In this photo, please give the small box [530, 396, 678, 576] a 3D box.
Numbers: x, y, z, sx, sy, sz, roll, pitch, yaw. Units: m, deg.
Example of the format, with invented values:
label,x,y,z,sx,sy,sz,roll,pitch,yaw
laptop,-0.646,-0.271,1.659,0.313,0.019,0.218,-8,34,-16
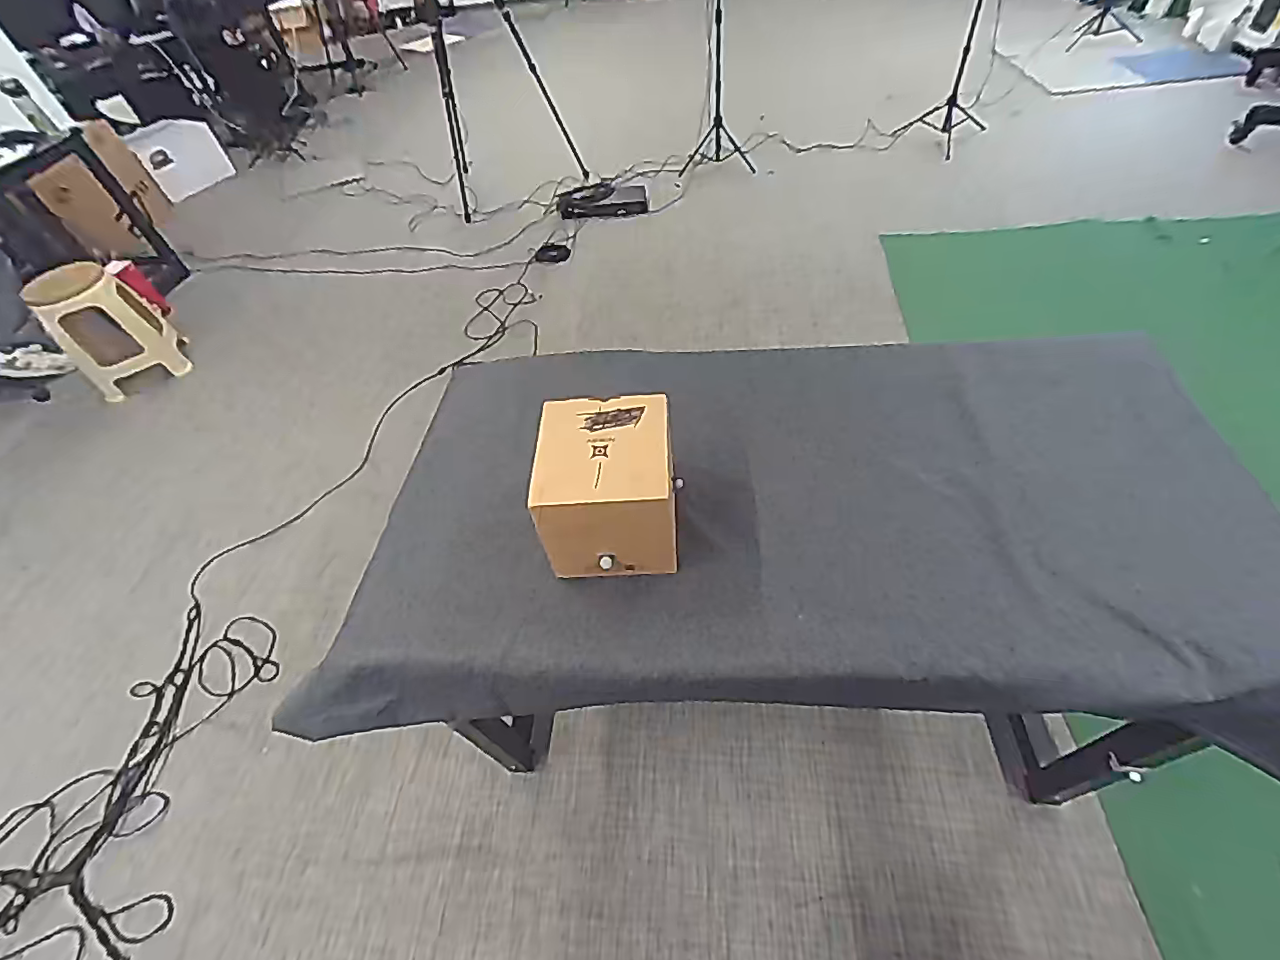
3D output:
label,x,y,z,sx,sy,sz,roll,pitch,yaw
small box,-0.036,0.011,0.726,0.168,0.176,0.179,-3,50,5
